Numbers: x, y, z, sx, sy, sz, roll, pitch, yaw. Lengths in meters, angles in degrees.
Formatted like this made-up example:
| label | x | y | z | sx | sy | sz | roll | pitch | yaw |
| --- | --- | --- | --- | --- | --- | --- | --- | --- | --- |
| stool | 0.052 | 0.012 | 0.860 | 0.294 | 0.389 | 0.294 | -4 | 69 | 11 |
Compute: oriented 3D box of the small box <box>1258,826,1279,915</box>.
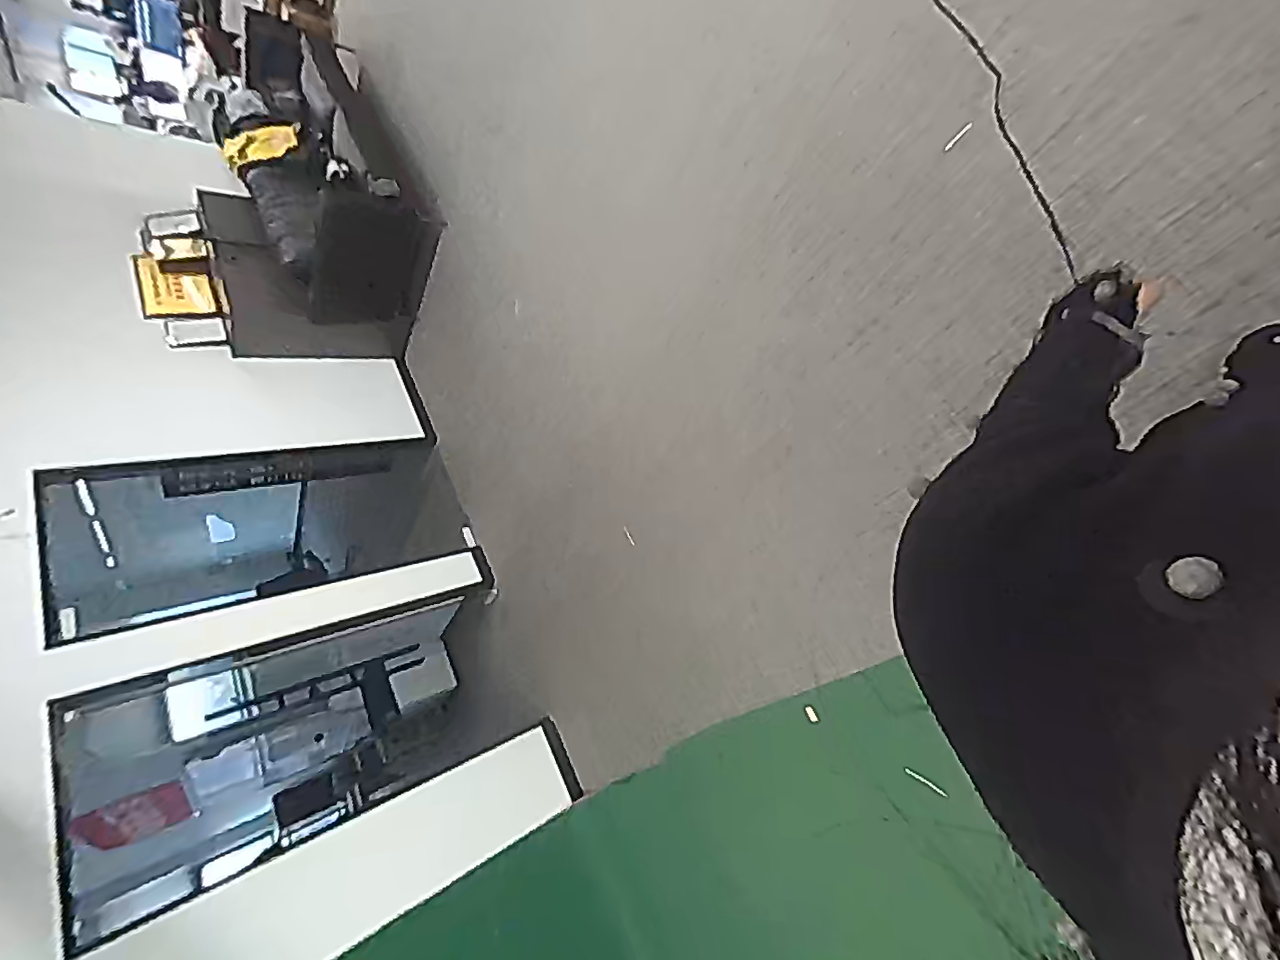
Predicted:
| label | x | y | z | sx | sy | sz | roll | pitch | yaw |
| --- | --- | --- | --- | --- | --- | --- | --- | --- | --- |
| small box | 1.127 | 0.660 | 0.830 | 0.179 | 0.176 | 0.168 | 57 | 135 | 23 |
